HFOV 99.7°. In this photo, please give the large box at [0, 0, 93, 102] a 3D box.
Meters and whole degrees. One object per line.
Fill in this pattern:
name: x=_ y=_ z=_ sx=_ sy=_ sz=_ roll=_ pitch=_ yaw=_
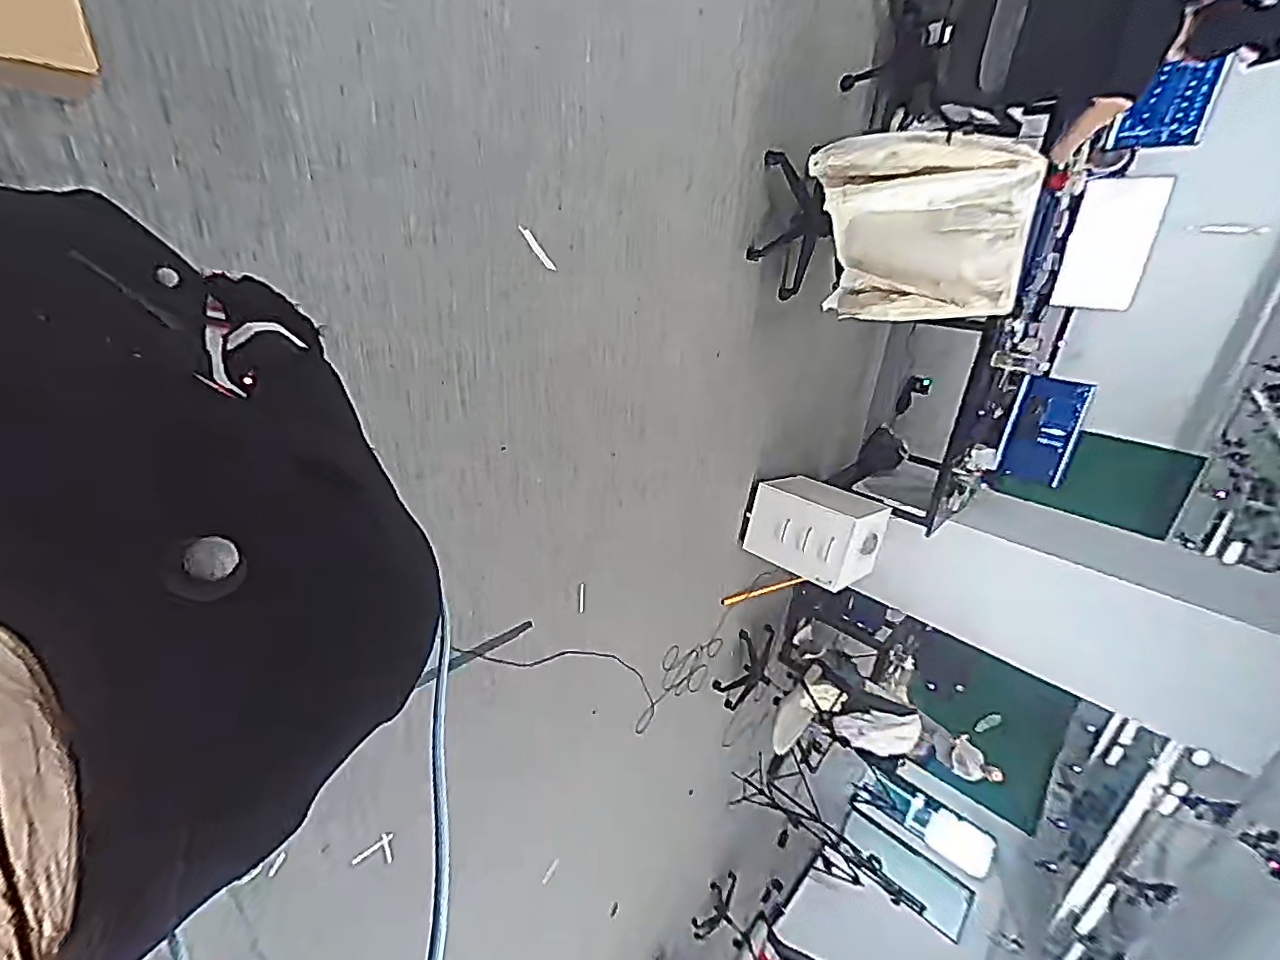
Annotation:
large box: x=-0.938 y=-0.651 z=0.591 sx=0.408 sy=0.320 sz=0.320 roll=-20 pitch=124 yaw=-43
